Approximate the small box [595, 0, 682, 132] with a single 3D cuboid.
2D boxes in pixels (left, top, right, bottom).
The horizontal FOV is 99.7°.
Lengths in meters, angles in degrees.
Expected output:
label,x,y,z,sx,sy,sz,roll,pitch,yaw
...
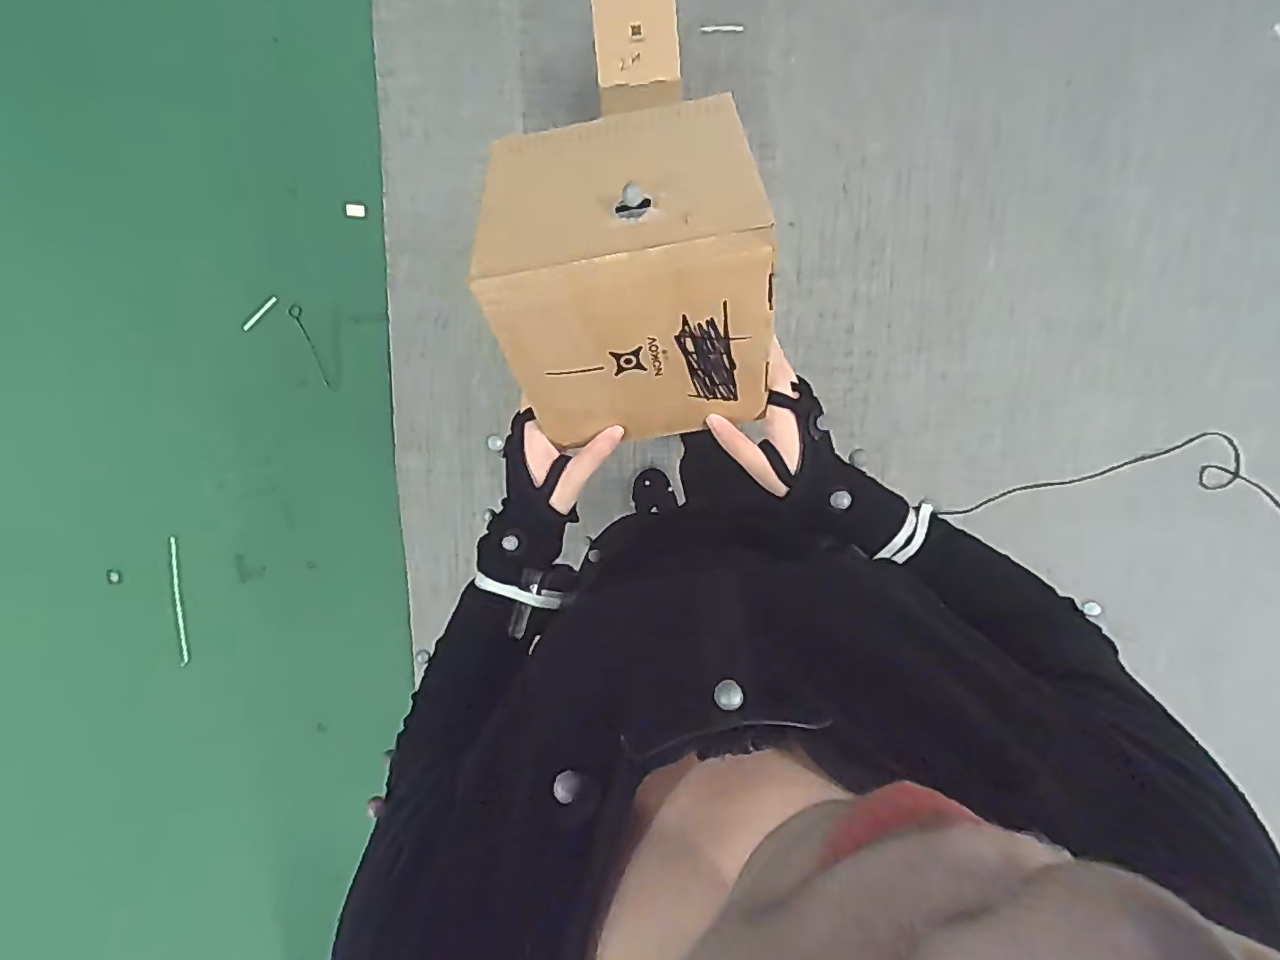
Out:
label,x,y,z,sx,sy,sz,roll,pitch,yaw
small box,-0.003,-0.876,1.142,0.168,0.176,0.179,-4,97,2
